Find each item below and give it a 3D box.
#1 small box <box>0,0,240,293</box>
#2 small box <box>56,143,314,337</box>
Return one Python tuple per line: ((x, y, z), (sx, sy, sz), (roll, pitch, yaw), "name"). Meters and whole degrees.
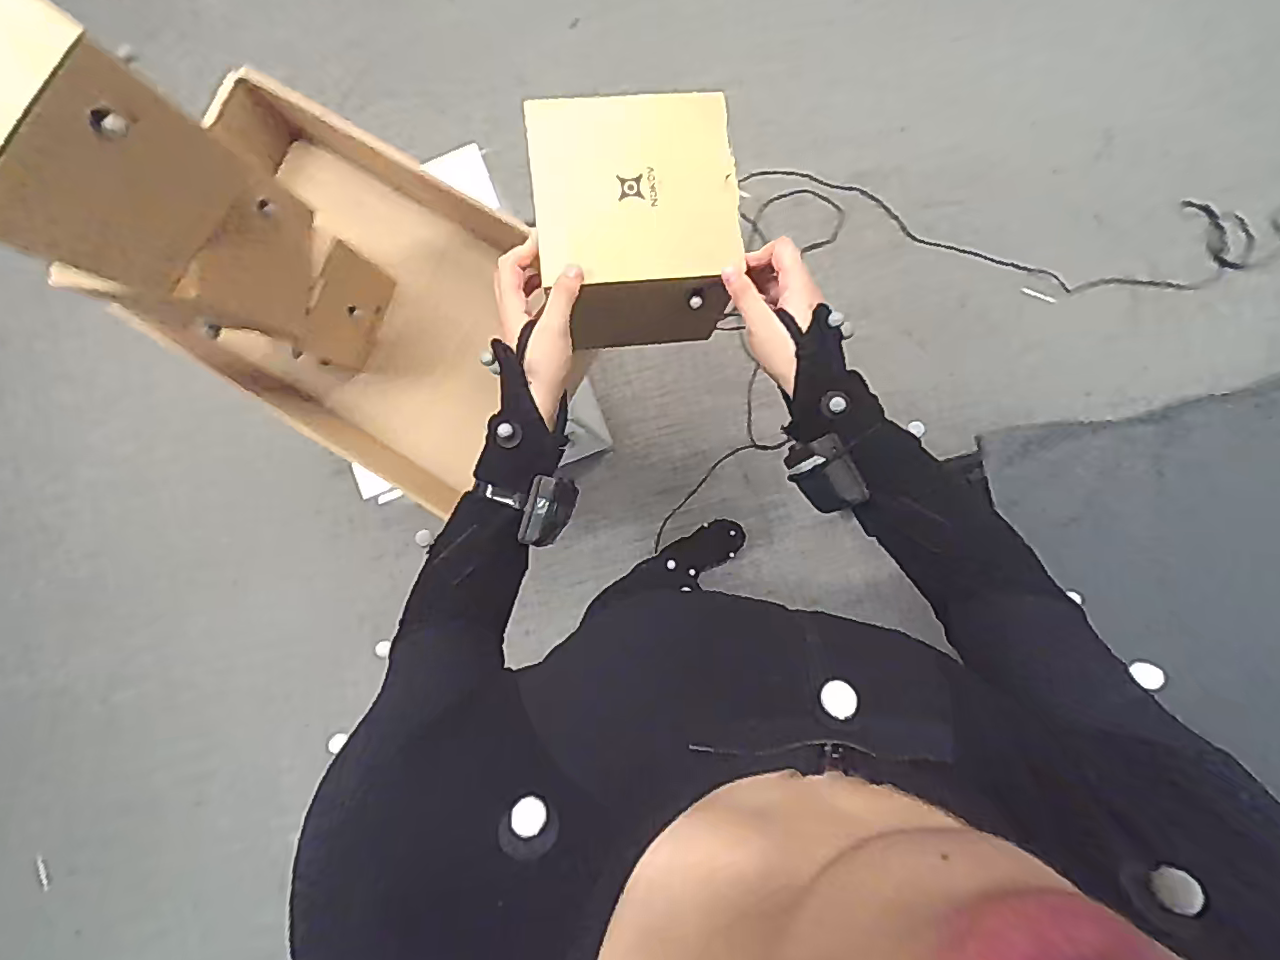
((-0.515, -0.306, 0.485), (0.168, 0.176, 0.179), (36, 92, 4), "small box")
((-0.527, -0.286, 0.651), (0.168, 0.176, 0.179), (6, 91, 4), "small box")
